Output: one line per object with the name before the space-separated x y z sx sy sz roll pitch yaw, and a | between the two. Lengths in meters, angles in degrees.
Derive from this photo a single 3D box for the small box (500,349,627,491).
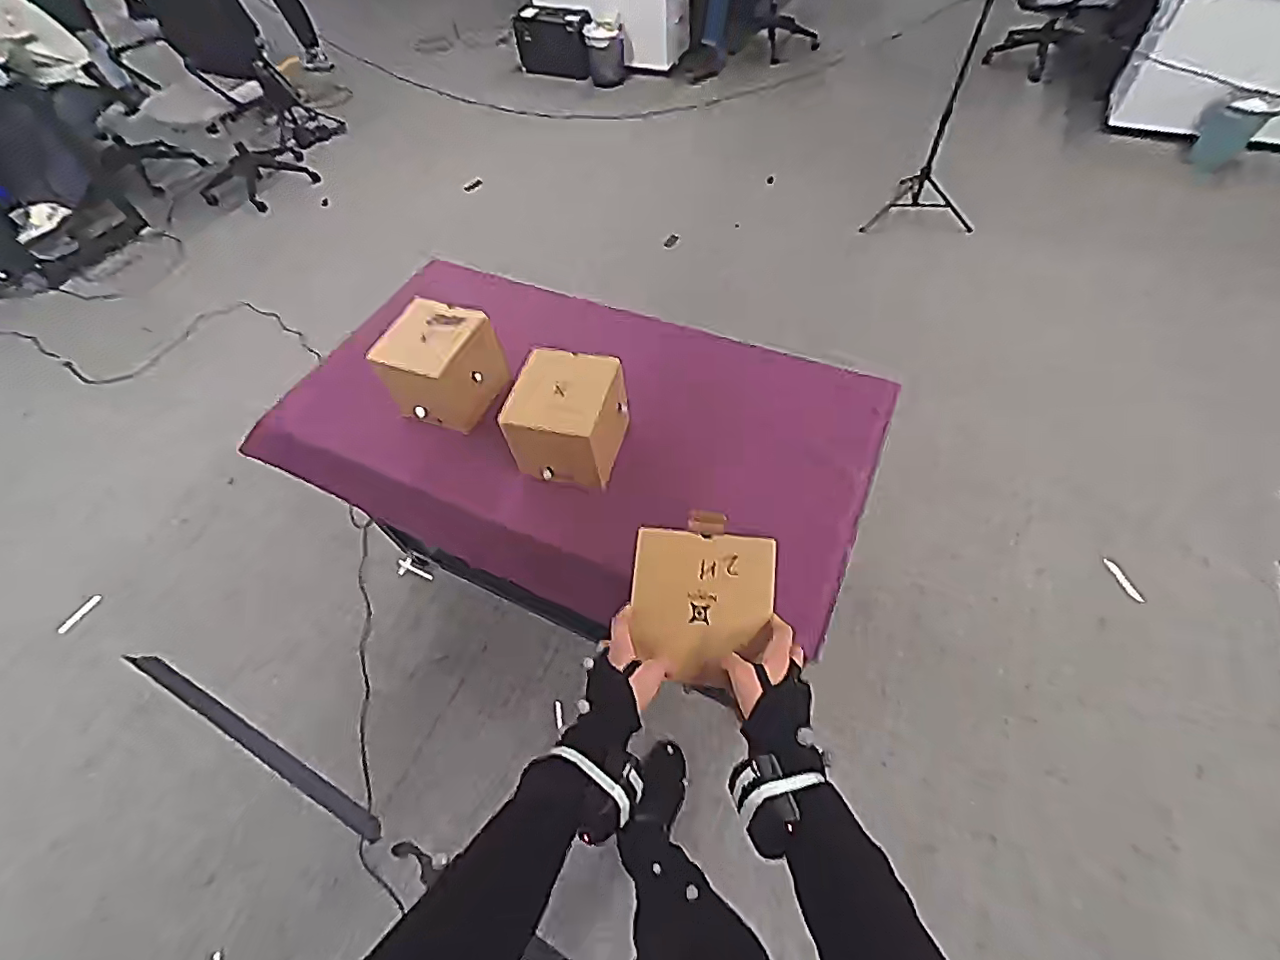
small box | -0.126 -0.106 0.979 0.168 0.176 0.179 11 58 13

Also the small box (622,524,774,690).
small box | 0.076 0.167 0.704 0.168 0.176 0.179 5 72 5

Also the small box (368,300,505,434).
small box | -0.390 -0.224 1.080 0.168 0.176 0.179 17 60 16
